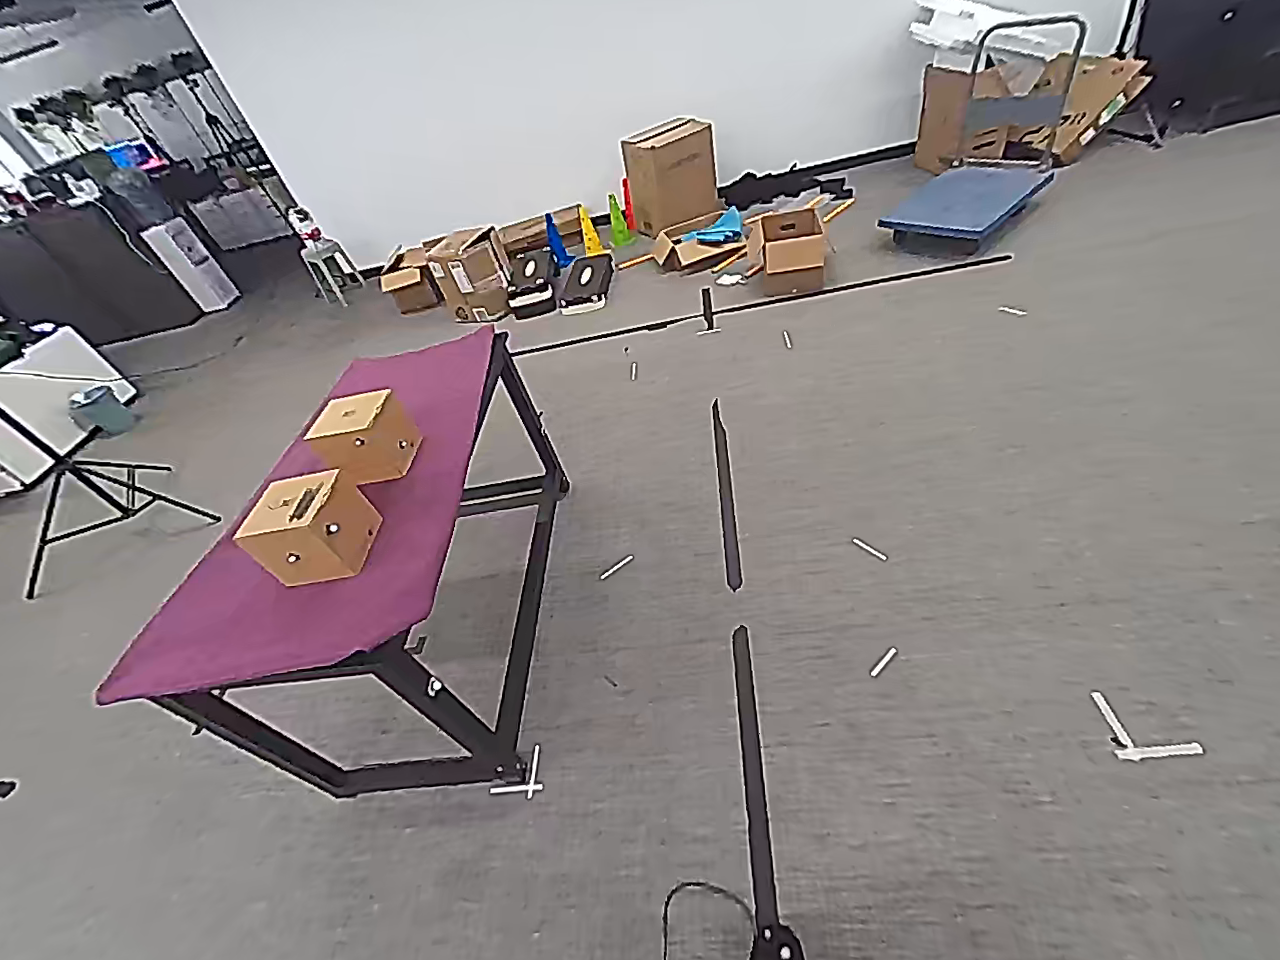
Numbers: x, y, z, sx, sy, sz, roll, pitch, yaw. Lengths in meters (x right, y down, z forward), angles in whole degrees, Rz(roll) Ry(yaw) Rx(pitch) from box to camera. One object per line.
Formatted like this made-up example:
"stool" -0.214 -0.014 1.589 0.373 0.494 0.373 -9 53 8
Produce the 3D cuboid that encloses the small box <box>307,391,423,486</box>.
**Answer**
"small box" -0.699 -0.102 1.394 0.179 0.176 0.168 -9 43 9
